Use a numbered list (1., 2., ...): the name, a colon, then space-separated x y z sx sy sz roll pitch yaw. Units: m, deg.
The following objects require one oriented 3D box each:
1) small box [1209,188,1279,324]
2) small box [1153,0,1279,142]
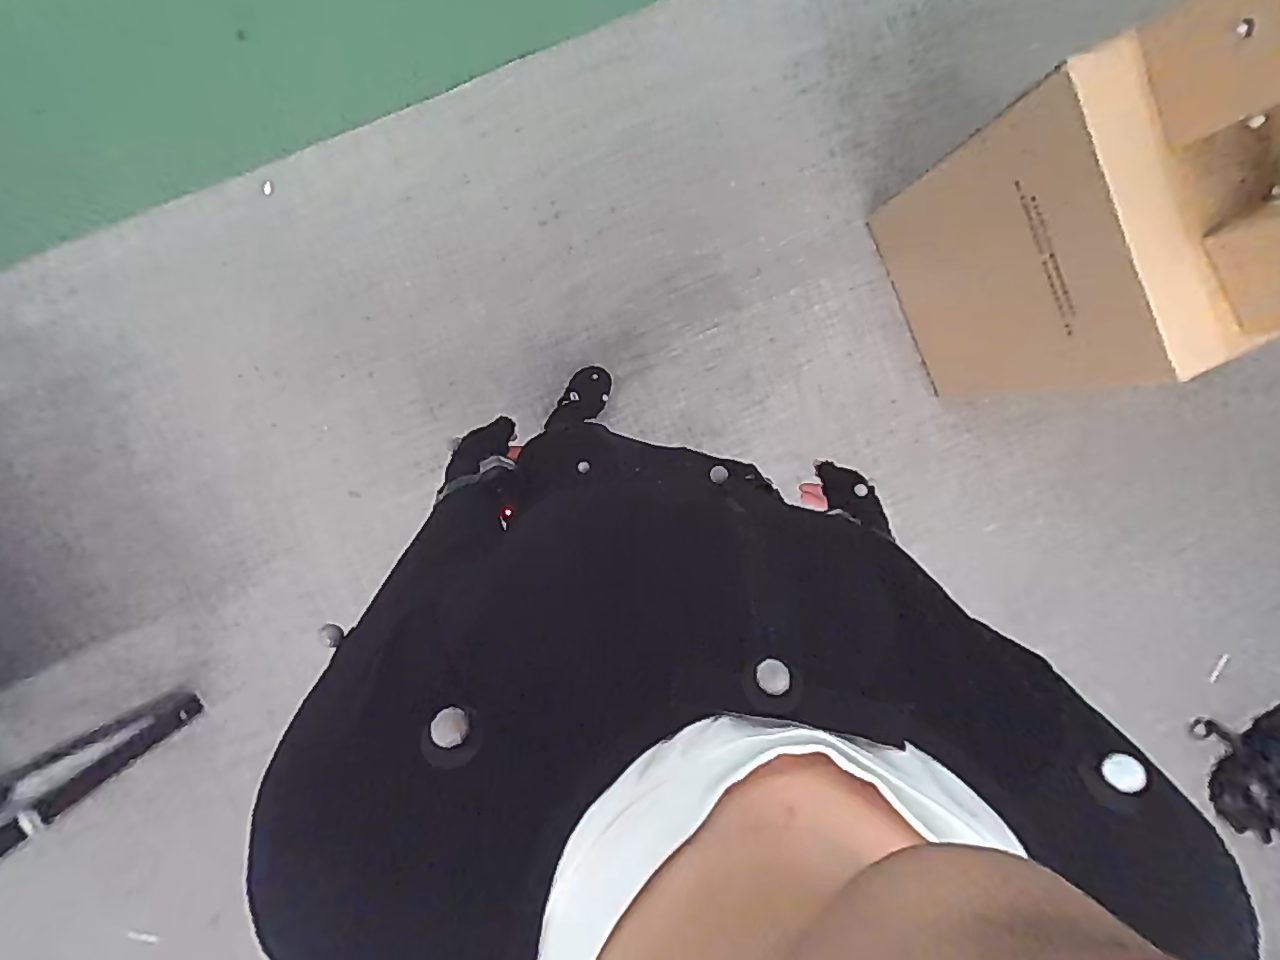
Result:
1. small box: 0.985 -0.338 0.758 0.168 0.176 0.179 -34 95 1
2. small box: 0.849 -0.603 0.721 0.168 0.176 0.179 -22 97 2
